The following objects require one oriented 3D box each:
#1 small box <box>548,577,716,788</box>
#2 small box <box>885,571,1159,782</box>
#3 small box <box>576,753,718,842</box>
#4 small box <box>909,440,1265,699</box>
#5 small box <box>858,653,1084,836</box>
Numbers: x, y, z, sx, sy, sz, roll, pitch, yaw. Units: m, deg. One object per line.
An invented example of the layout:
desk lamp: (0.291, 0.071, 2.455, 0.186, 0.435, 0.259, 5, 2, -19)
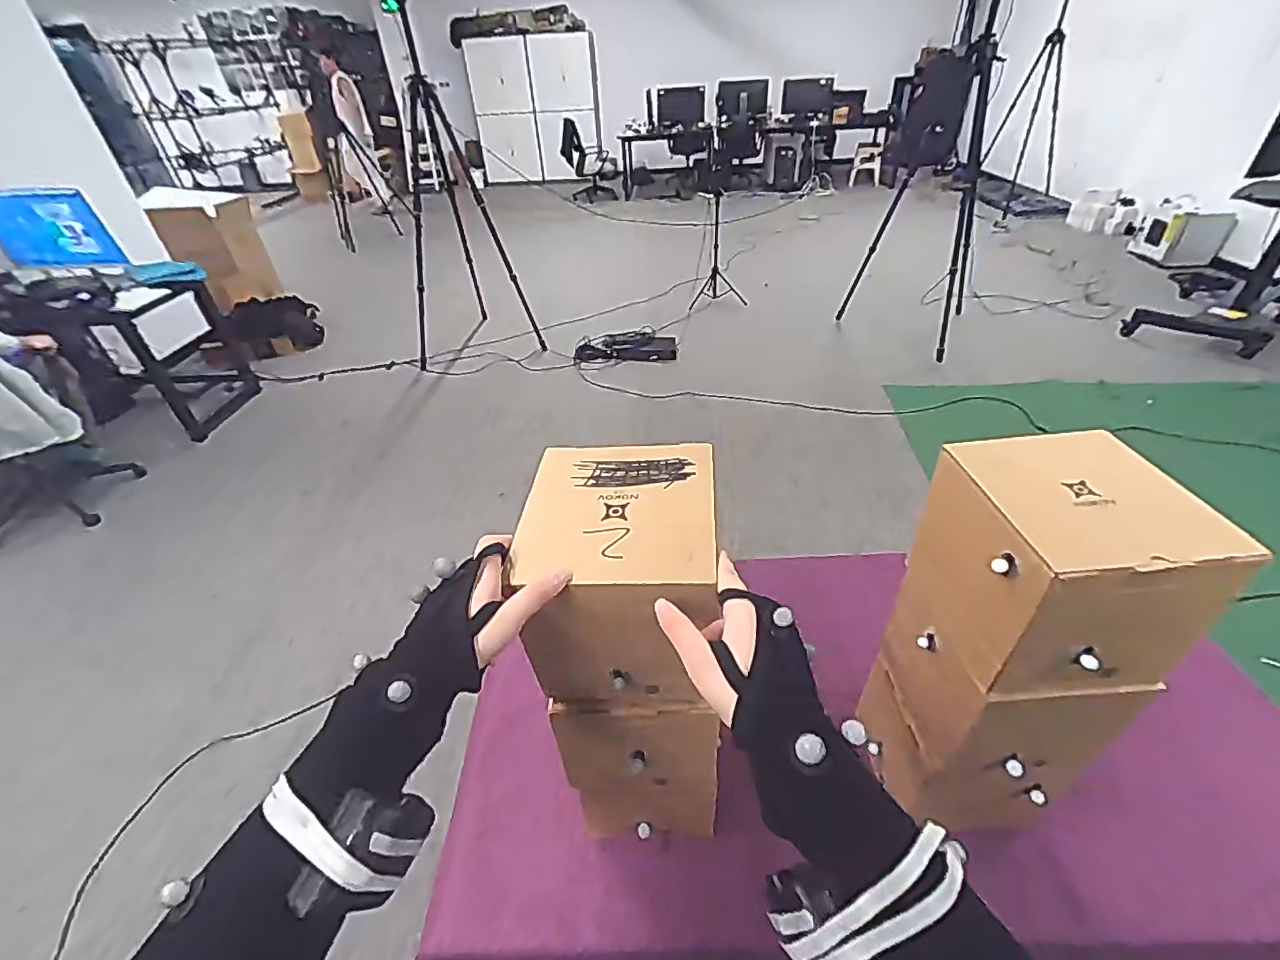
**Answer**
small box: (0.001, 0.233, 0.624, 0.168, 0.176, 0.179, -1, 39, 3)
small box: (0.401, 0.214, 0.614, 0.168, 0.176, 0.179, -4, 38, 2)
small box: (0.013, 0.357, 0.730, 0.168, 0.176, 0.179, -1, 38, 3)
small box: (0.389, 0.082, 0.520, 0.168, 0.176, 0.179, -5, 39, 0)
small box: (0.411, 0.345, 0.711, 0.179, 0.176, 0.168, -3, 37, 2)
